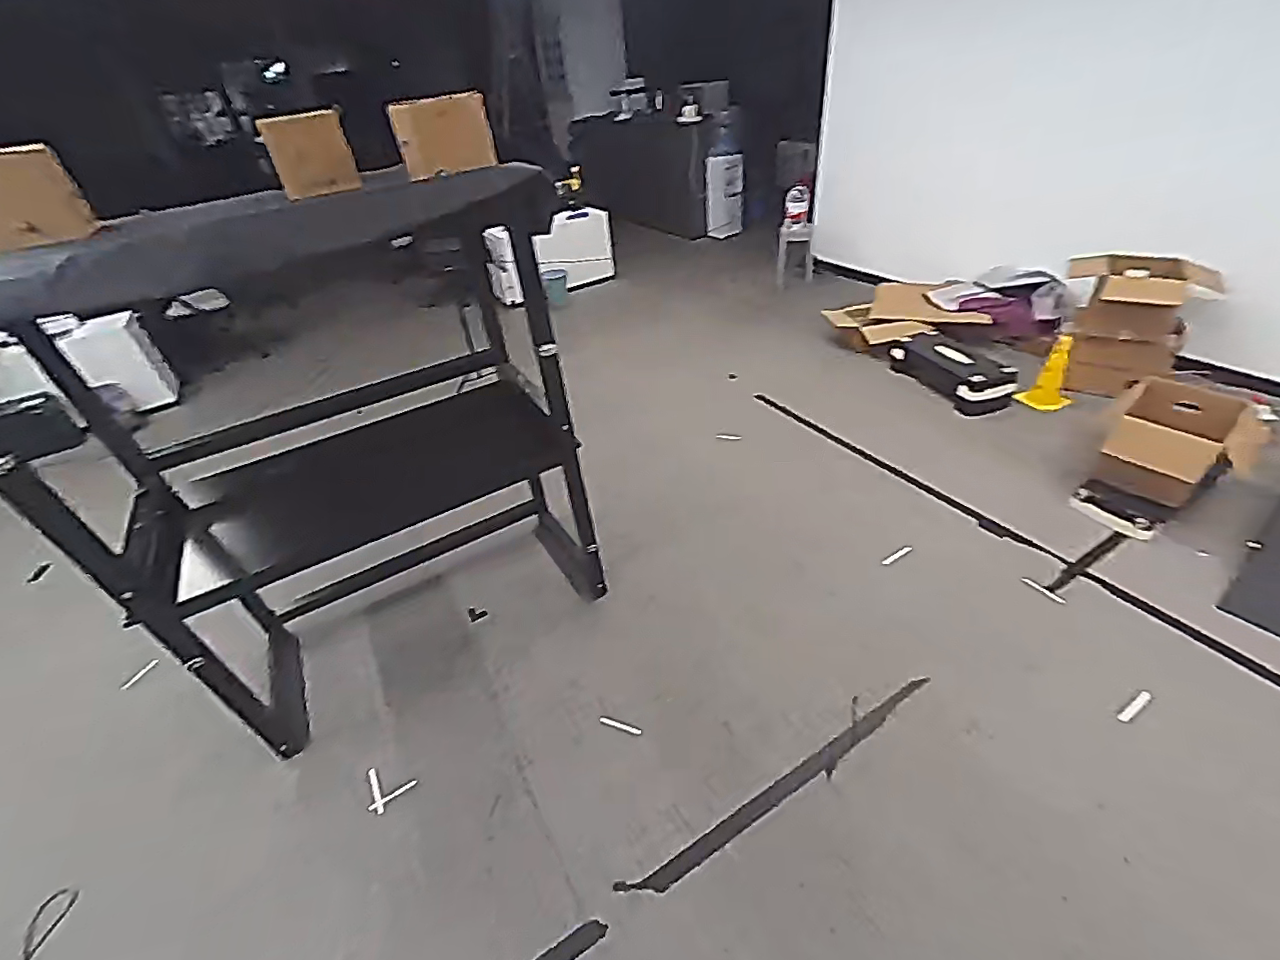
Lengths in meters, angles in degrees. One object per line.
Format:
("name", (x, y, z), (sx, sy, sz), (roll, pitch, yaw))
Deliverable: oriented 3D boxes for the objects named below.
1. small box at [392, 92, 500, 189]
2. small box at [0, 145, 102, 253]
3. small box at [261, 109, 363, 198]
("small box", (-0.445, -0.784, 1.254), (0.168, 0.176, 0.179), (-26, 41, -23))
("small box", (-1.312, -0.603, 1.155), (0.179, 0.176, 0.168), (-25, 41, -23))
("small box", (-0.827, -0.827, 1.372), (0.168, 0.176, 0.179), (-25, 41, -21))
